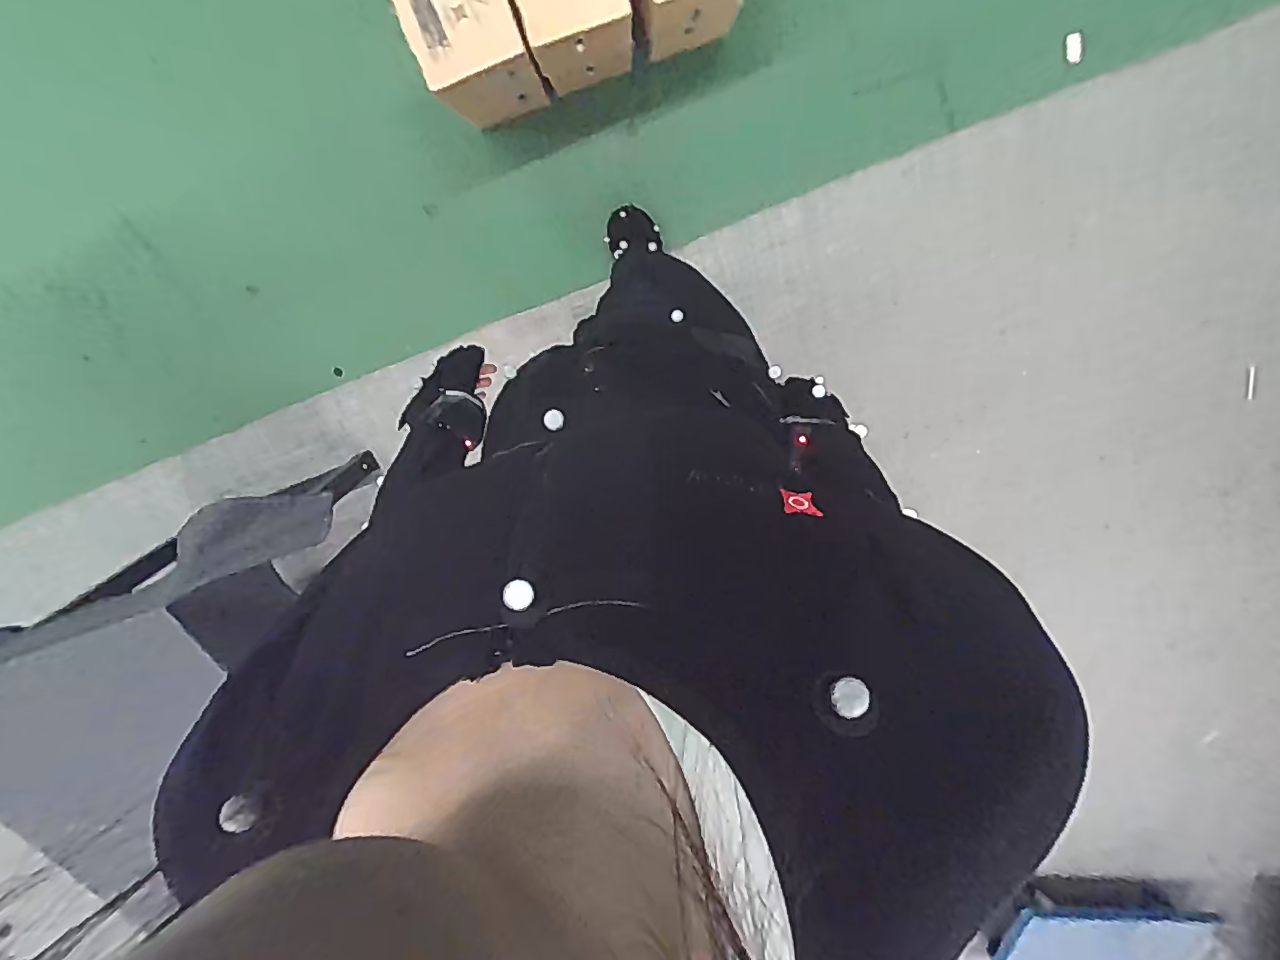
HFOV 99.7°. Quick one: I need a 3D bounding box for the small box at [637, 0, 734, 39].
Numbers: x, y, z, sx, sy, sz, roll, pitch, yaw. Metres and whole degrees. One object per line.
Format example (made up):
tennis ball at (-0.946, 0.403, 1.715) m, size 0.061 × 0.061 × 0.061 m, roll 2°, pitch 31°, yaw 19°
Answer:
small box at (0.076, -0.891, 0.905) m, size 0.179 × 0.176 × 0.168 m, roll -20°, pitch 112°, yaw 6°
